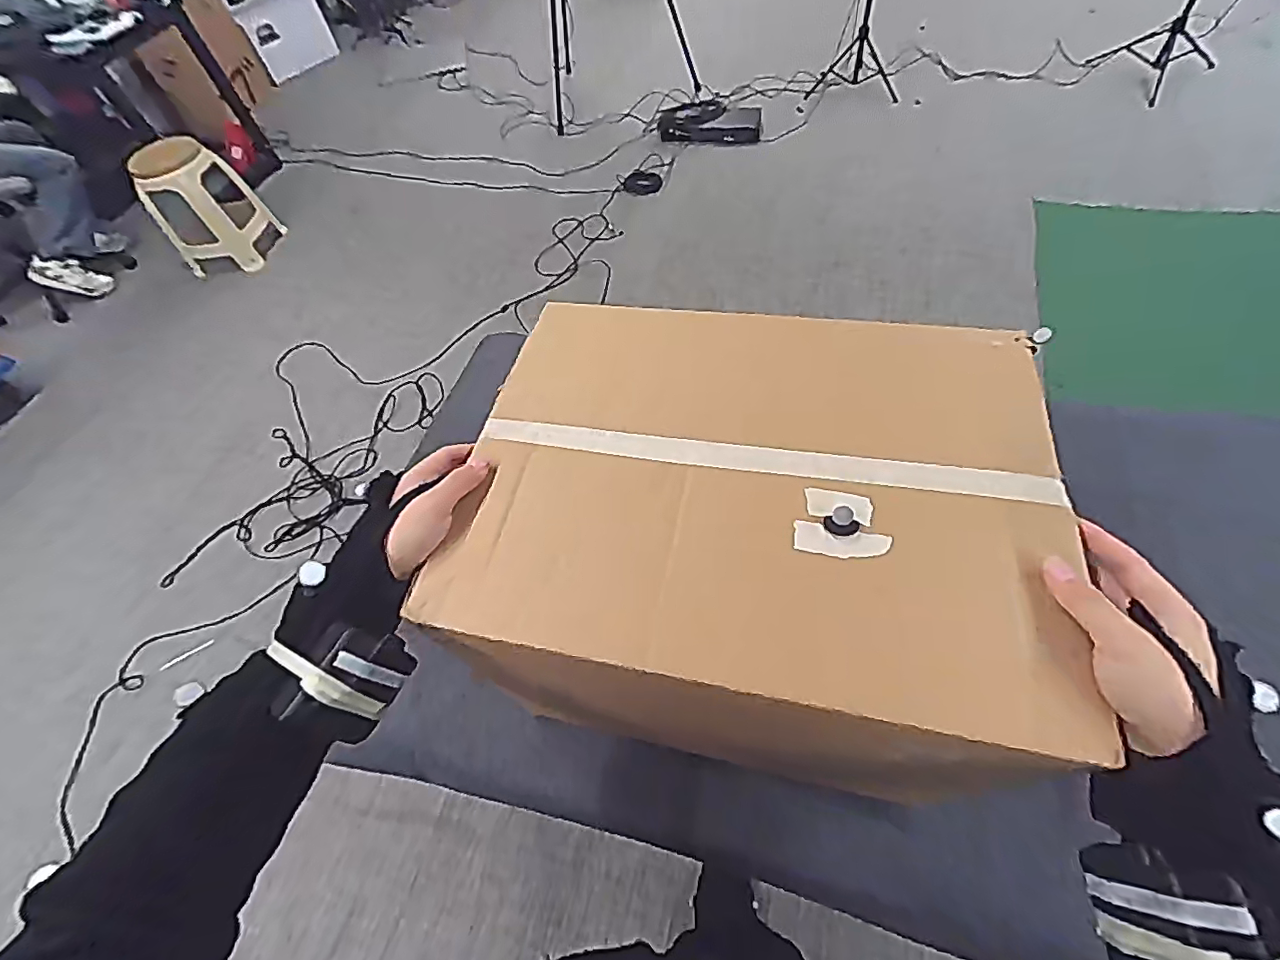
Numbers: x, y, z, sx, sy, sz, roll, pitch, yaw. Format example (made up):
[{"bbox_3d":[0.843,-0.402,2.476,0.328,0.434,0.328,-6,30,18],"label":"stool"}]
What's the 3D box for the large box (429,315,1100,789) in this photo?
[{"bbox_3d":[0.093,0.072,0.522,0.408,0.320,0.320,8,58,11],"label":"large box"}]
